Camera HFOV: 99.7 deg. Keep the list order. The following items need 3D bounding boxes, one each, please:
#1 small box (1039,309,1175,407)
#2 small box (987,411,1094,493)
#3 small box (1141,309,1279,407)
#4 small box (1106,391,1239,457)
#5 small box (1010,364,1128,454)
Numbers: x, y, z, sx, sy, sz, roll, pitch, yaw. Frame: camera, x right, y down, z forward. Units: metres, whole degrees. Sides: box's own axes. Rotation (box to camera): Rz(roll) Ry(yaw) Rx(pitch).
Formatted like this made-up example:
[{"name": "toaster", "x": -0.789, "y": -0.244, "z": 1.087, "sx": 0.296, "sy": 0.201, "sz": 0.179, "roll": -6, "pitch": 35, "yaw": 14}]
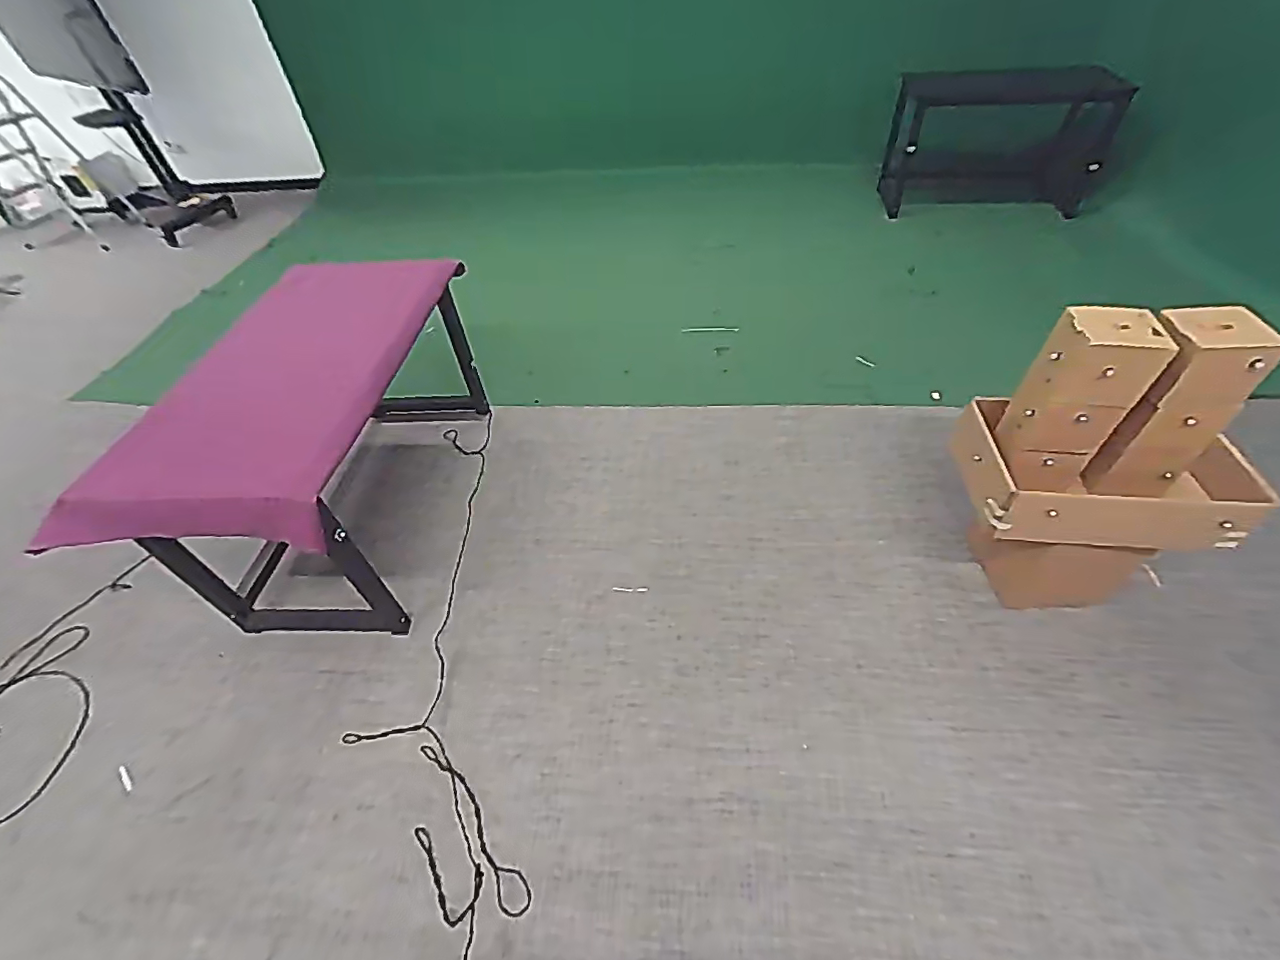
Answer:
[{"name": "small box", "x": 1.100, "y": -0.292, "z": 1.299, "sx": 0.179, "sy": 0.176, "sz": 0.168, "roll": 6, "pitch": 49, "yaw": 10}, {"name": "small box", "x": 1.128, "y": -0.080, "z": 1.546, "sx": 0.179, "sy": 0.176, "sz": 0.168, "roll": 4, "pitch": 48, "yaw": 7}, {"name": "small box", "x": 1.321, "y": -0.285, "z": 1.280, "sx": 0.179, "sy": 0.176, "sz": 0.168, "roll": 0, "pitch": 47, "yaw": 8}, {"name": "small box", "x": 1.350, "y": -0.173, "z": 1.399, "sx": 0.179, "sy": 0.176, "sz": 0.168, "roll": 2, "pitch": 49, "yaw": 10}, {"name": "small box", "x": 1.110, "y": -0.184, "z": 1.422, "sx": 0.179, "sy": 0.176, "sz": 0.168, "roll": 6, "pitch": 49, "yaw": 9}]
